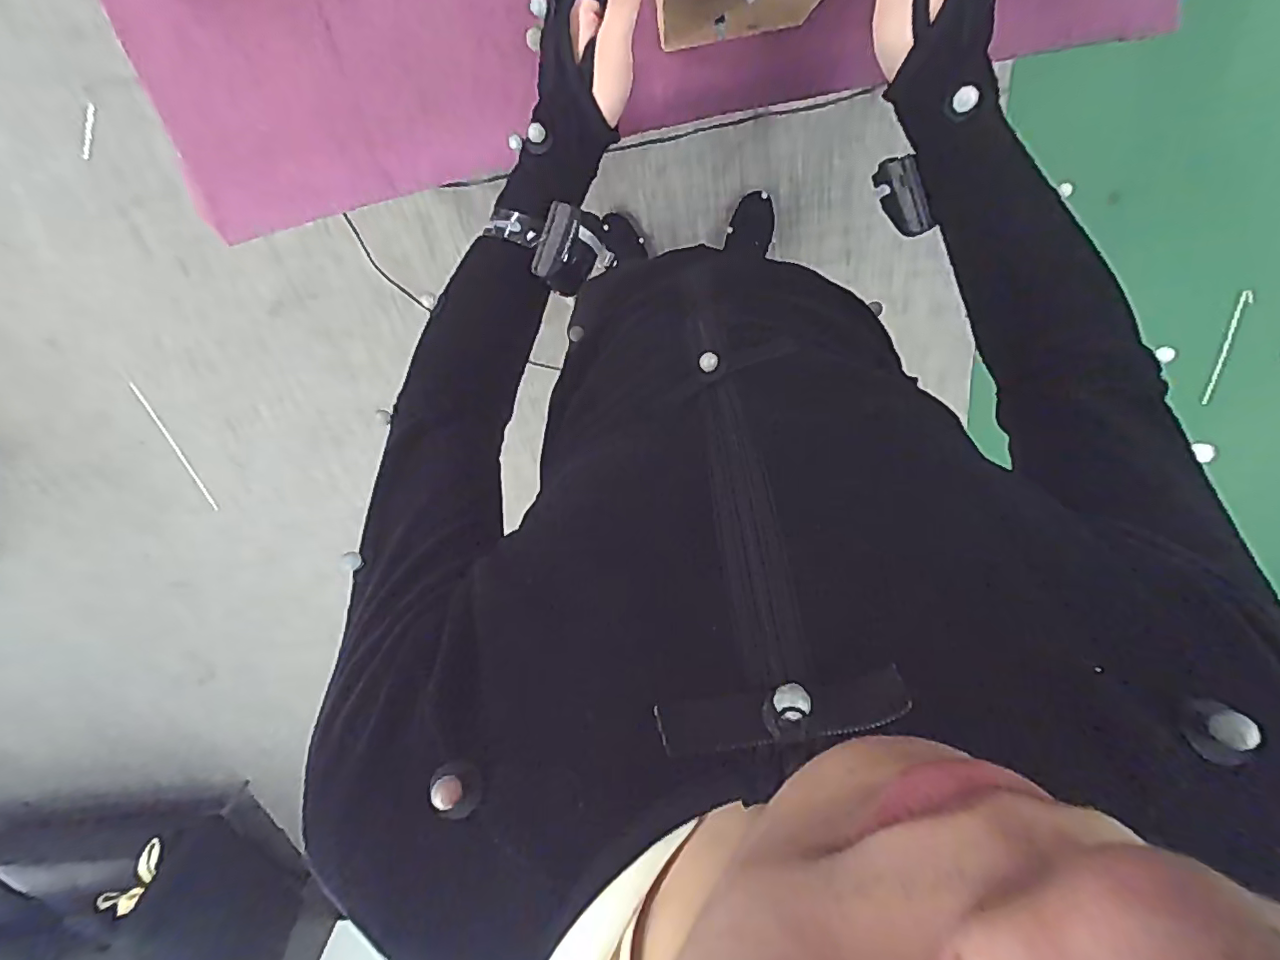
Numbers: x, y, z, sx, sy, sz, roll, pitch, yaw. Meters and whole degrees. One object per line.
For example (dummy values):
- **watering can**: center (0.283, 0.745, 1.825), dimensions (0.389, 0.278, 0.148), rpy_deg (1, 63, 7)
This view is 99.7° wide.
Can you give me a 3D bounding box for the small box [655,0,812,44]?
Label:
- **small box**: center (0.091, -0.557, 0.529), dimensions (0.168, 0.176, 0.179), rpy_deg (-6, 117, 7)
